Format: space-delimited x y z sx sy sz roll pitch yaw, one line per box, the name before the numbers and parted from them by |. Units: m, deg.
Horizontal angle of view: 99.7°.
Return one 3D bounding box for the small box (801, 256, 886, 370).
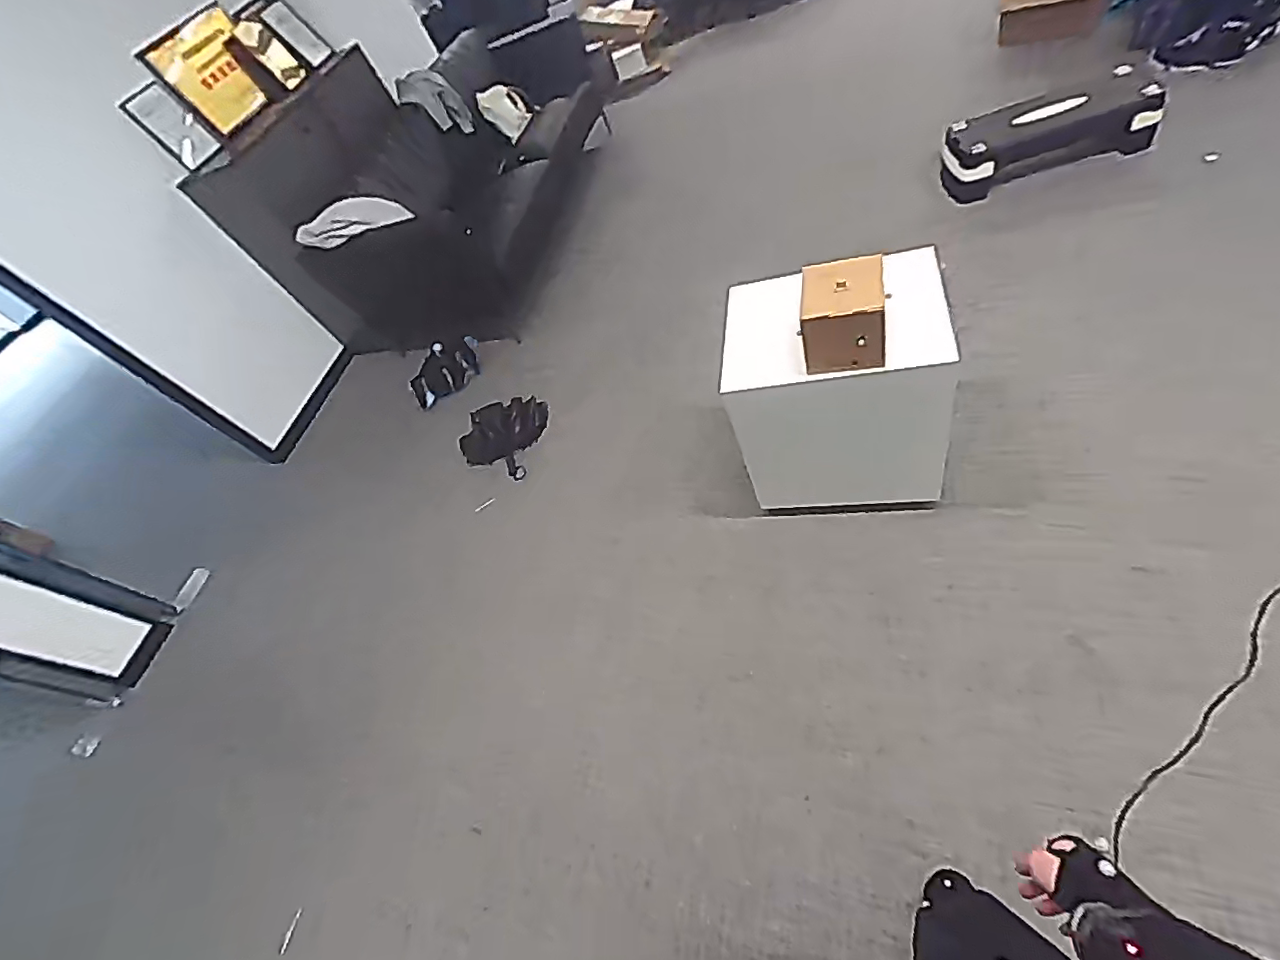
small box | 0.453 -0.358 1.193 0.168 0.176 0.179 -1 54 22
